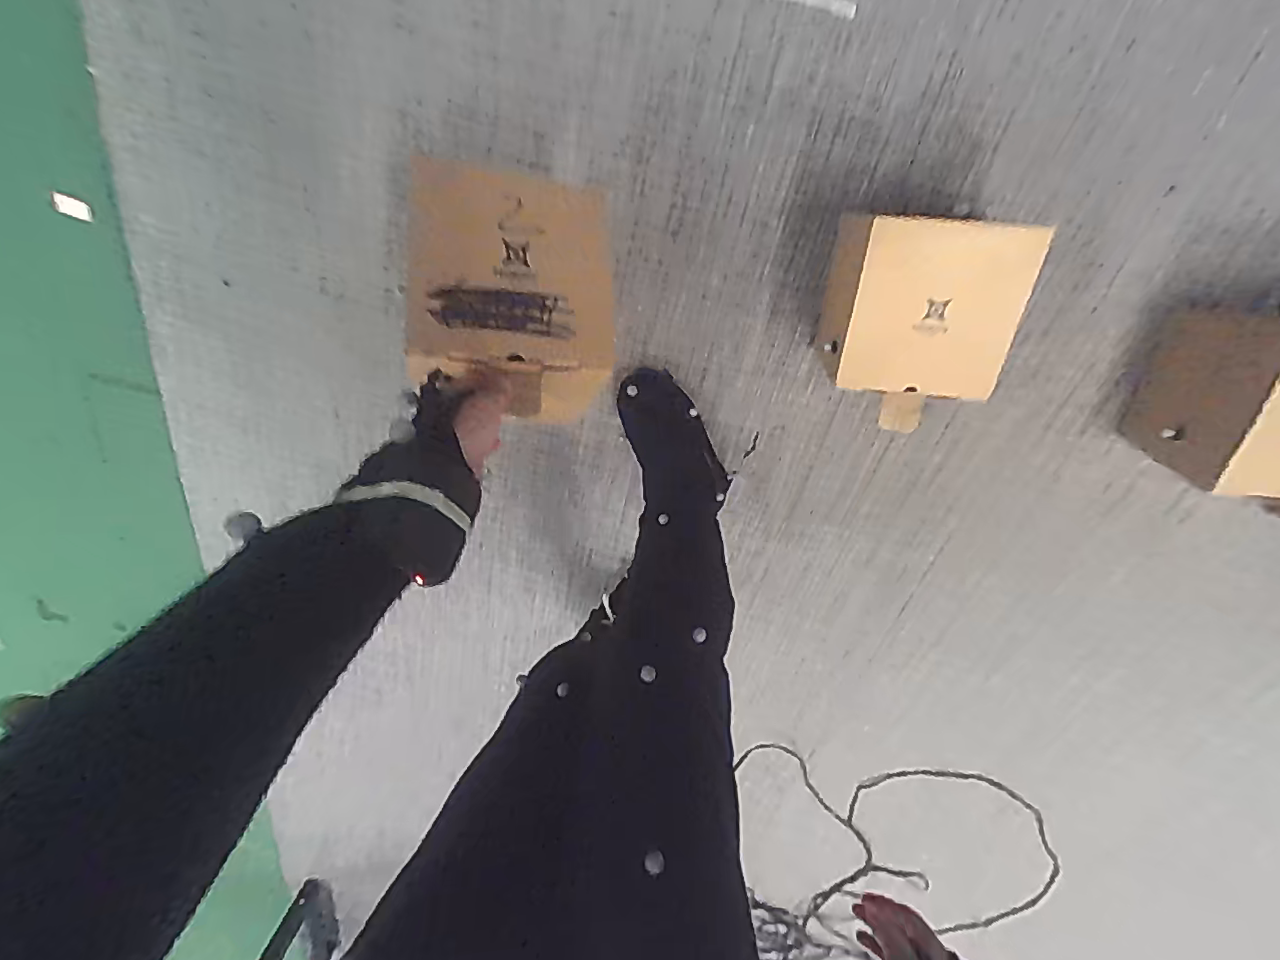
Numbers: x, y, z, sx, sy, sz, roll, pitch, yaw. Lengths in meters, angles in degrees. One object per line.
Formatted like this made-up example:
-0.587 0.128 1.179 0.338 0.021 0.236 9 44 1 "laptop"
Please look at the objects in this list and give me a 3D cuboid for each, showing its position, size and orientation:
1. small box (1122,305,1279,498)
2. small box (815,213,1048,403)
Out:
0.713 -0.094 0.617 0.168 0.176 0.179 2 118 6 "small box"
0.307 -0.205 0.620 0.168 0.176 0.179 6 120 6 "small box"
